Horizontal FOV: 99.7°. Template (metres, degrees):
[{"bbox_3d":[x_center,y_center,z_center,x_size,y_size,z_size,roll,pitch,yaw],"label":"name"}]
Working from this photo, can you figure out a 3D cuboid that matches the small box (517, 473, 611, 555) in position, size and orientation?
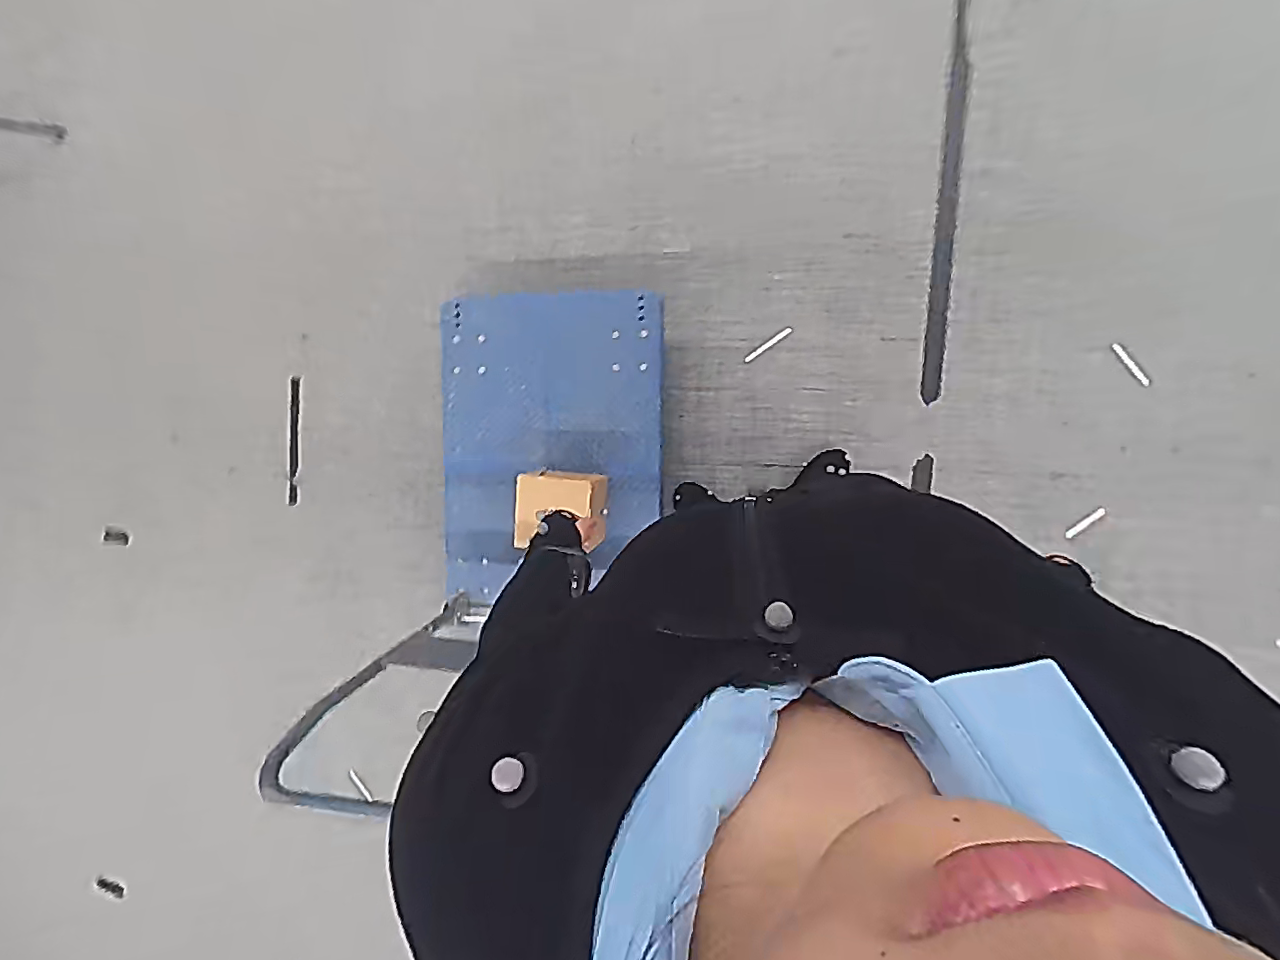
[{"bbox_3d":[-0.175,0.075,1.285,0.179,0.176,0.168,5,95,9],"label":"small box"}]
